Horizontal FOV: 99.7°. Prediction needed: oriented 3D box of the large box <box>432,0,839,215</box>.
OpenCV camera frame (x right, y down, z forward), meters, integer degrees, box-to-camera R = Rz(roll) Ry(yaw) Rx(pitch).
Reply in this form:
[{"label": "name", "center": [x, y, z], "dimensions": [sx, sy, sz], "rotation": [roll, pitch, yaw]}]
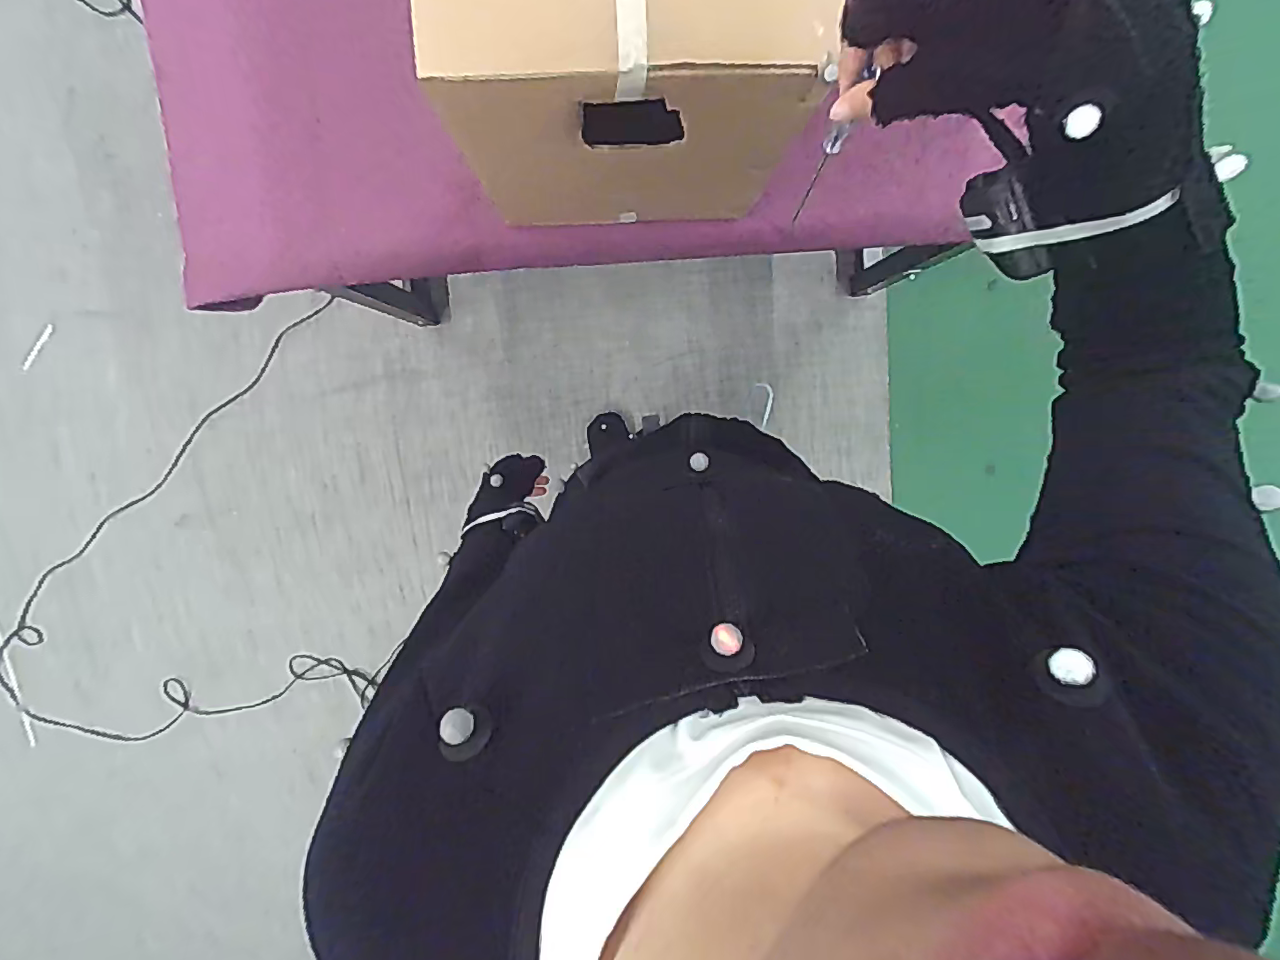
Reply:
[{"label": "large box", "center": [-0.015, -0.522, 0.529], "dimensions": [0.320, 0.320, 0.408], "rotation": [-2, 99, -1]}]
